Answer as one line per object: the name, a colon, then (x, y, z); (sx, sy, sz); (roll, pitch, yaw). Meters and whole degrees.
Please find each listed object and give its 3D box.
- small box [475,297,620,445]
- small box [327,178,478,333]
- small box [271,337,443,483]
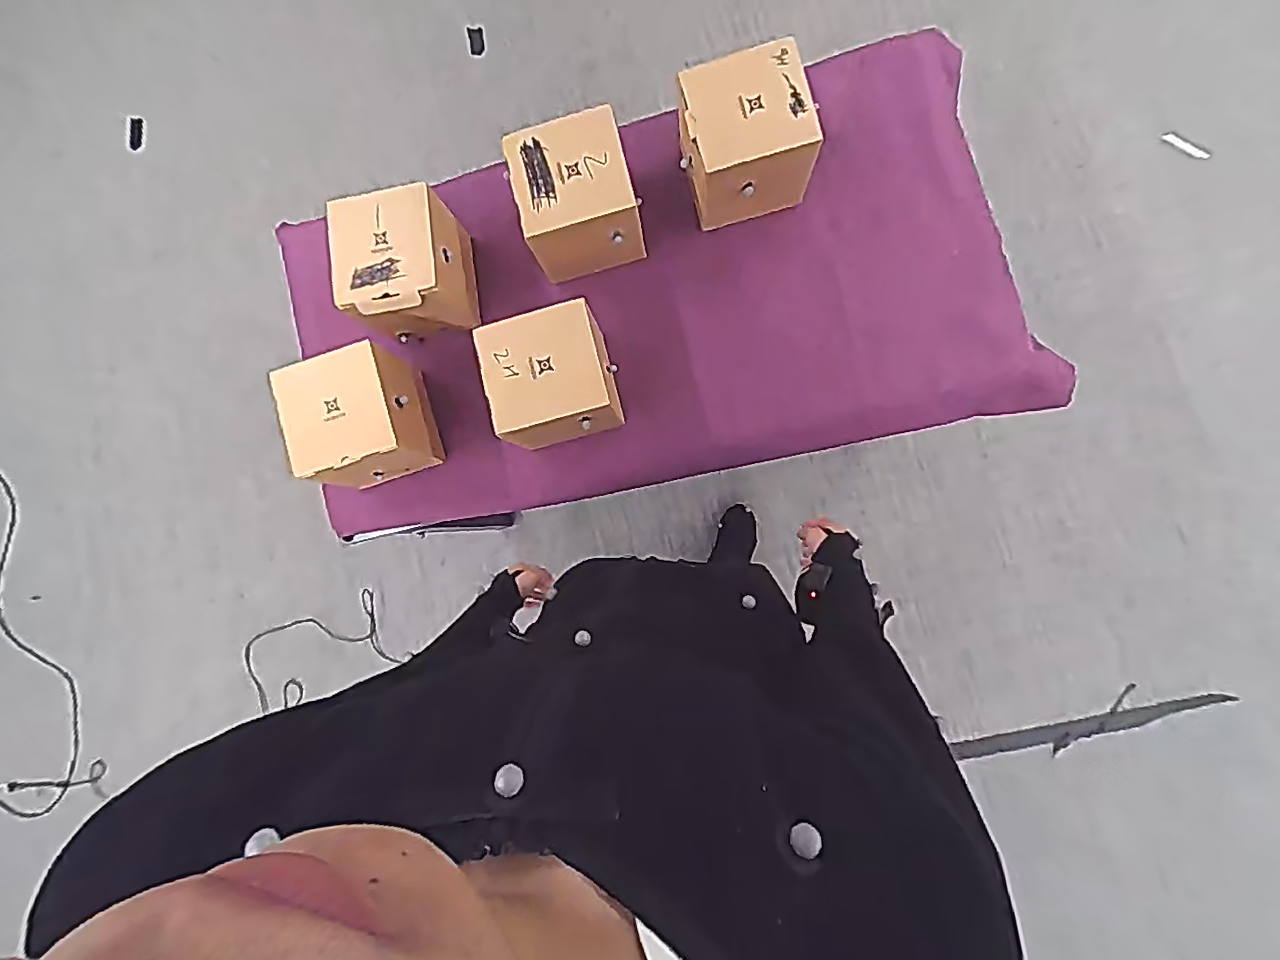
small box: (-0.134, -0.162, 0.857); (0.179, 0.176, 0.168); (-14, 84, 5)
small box: (-0.382, -0.356, 0.897); (0.168, 0.176, 0.179); (-8, 85, 5)
small box: (-0.450, -0.104, 0.884); (0.168, 0.176, 0.179); (-18, 85, 2)
